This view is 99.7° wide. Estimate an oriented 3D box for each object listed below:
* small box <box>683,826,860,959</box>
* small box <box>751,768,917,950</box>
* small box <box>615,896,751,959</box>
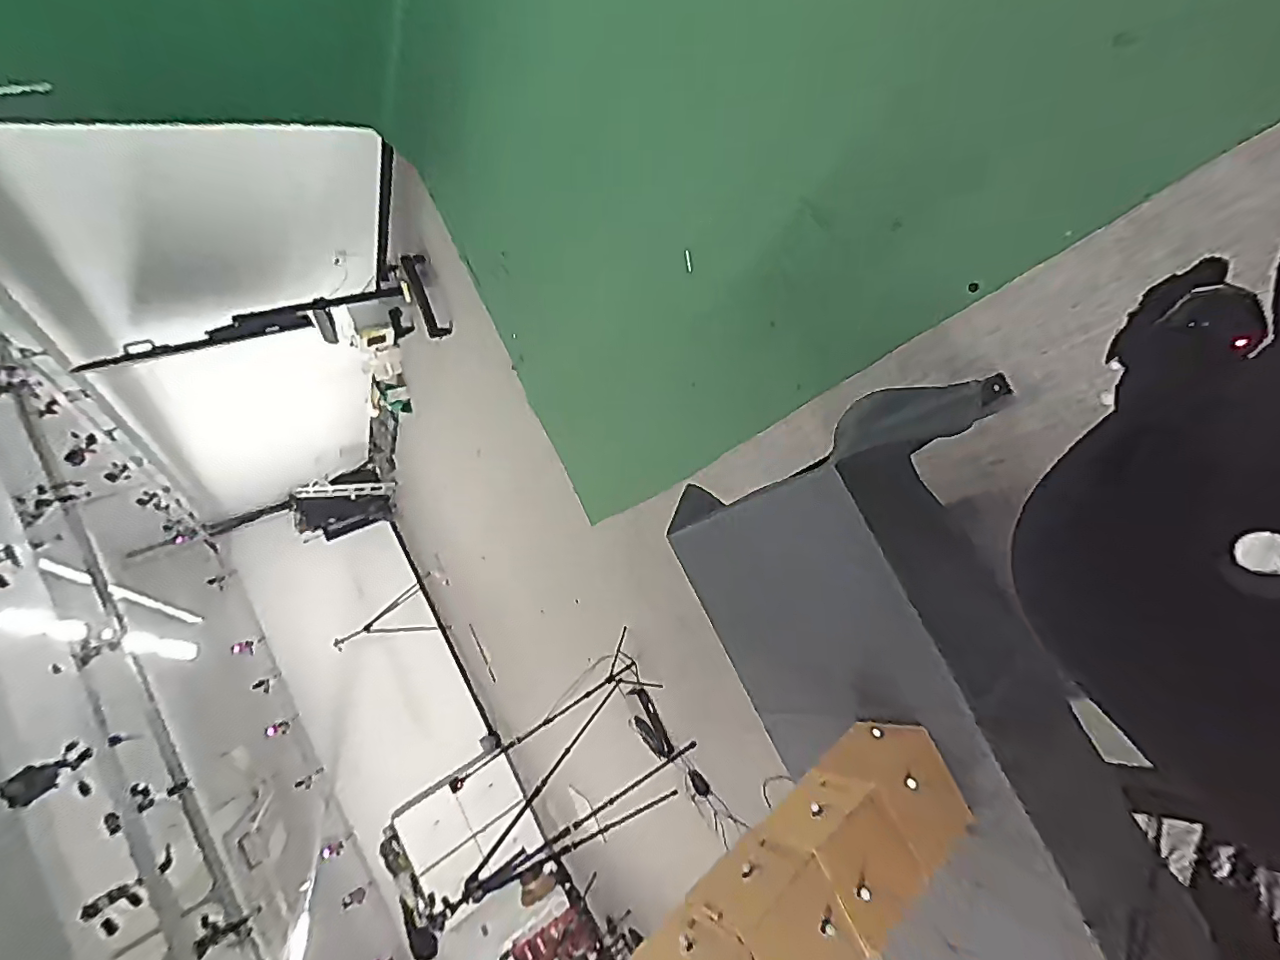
[{"bbox_3d":[0.204,0.692,0.850,0.168,0.176,0.179,-32,82,58],"label":"small box"},{"bbox_3d":[0.333,0.632,0.933,0.179,0.176,0.168,63,148,6],"label":"small box"},{"bbox_3d":[0.078,0.754,0.765,0.168,0.176,0.179,-35,80,57],"label":"small box"}]
